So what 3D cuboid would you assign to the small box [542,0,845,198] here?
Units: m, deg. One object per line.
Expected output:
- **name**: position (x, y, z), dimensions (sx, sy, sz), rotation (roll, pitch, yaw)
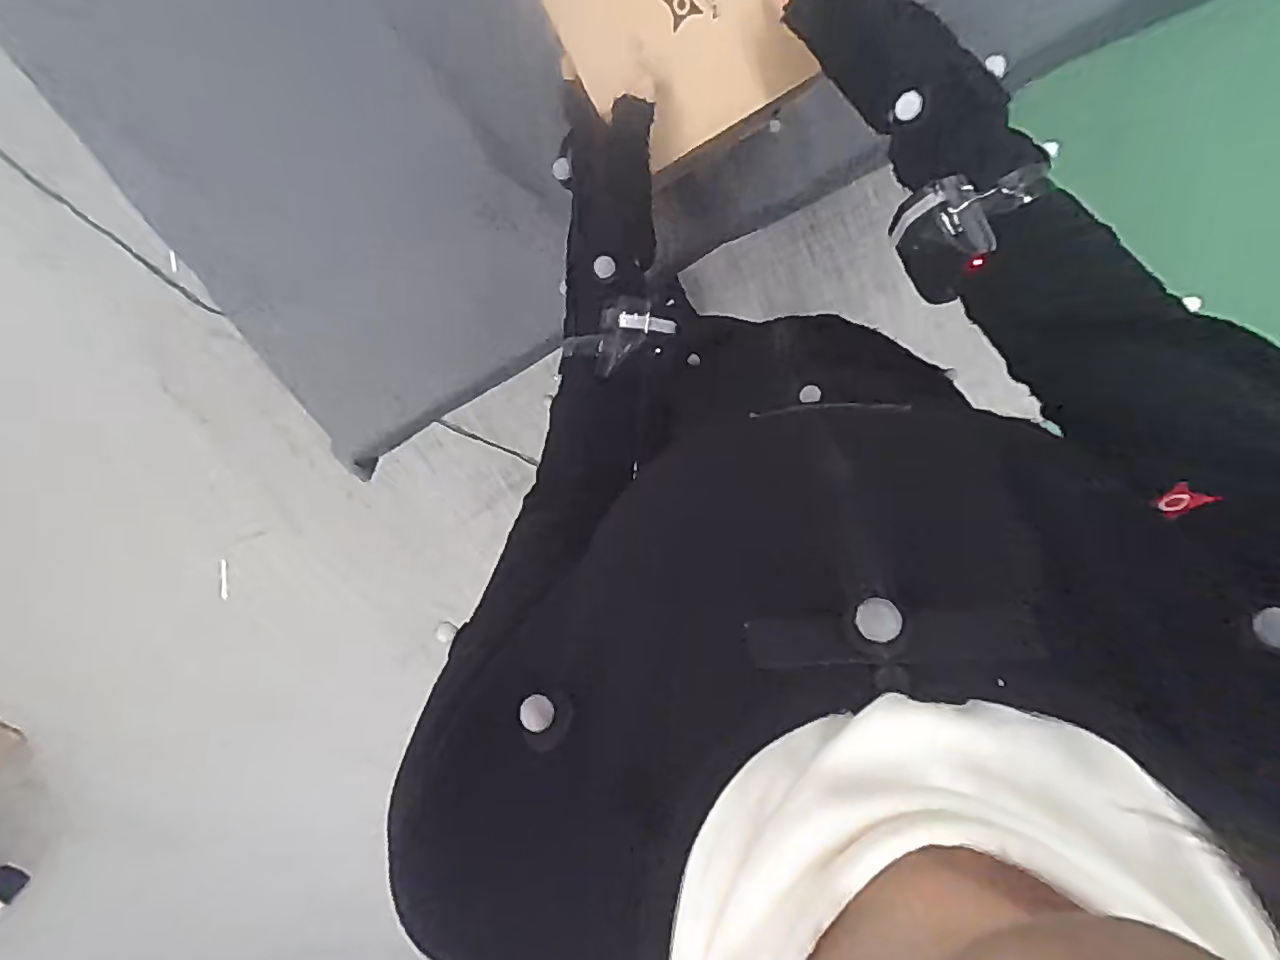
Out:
- **small box**: position (0.037, -0.359, 0.447), dimensions (0.179, 0.176, 0.168), rotation (-26, 110, 14)
